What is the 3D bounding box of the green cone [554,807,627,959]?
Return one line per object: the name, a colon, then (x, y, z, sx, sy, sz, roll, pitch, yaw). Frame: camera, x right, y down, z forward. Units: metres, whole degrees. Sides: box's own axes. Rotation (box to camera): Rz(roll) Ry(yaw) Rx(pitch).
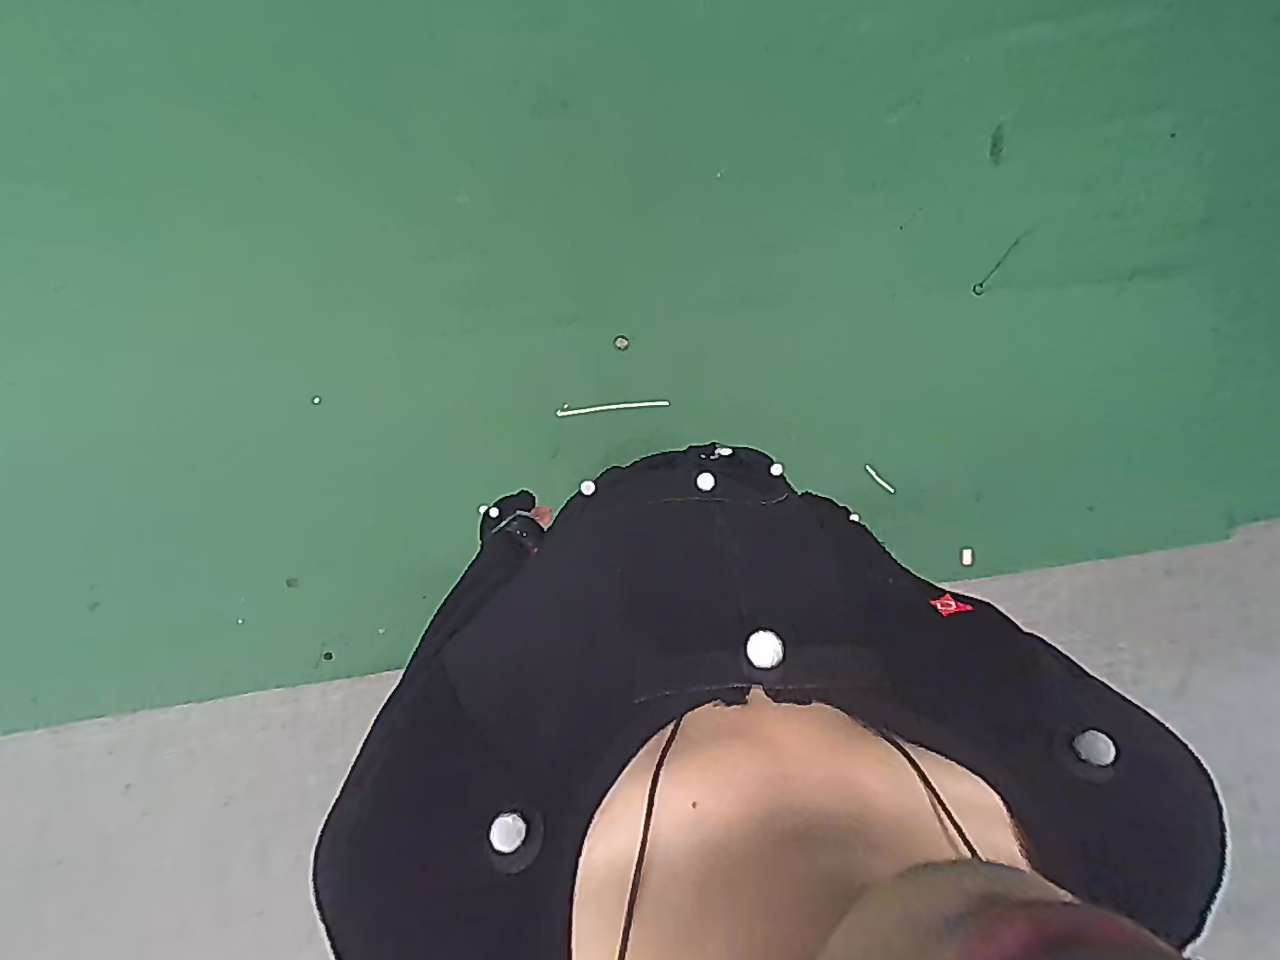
green cone: (-0.127, 1.061, 1.389, 0.200, 0.368, 0.202, -5, 94, -5)
